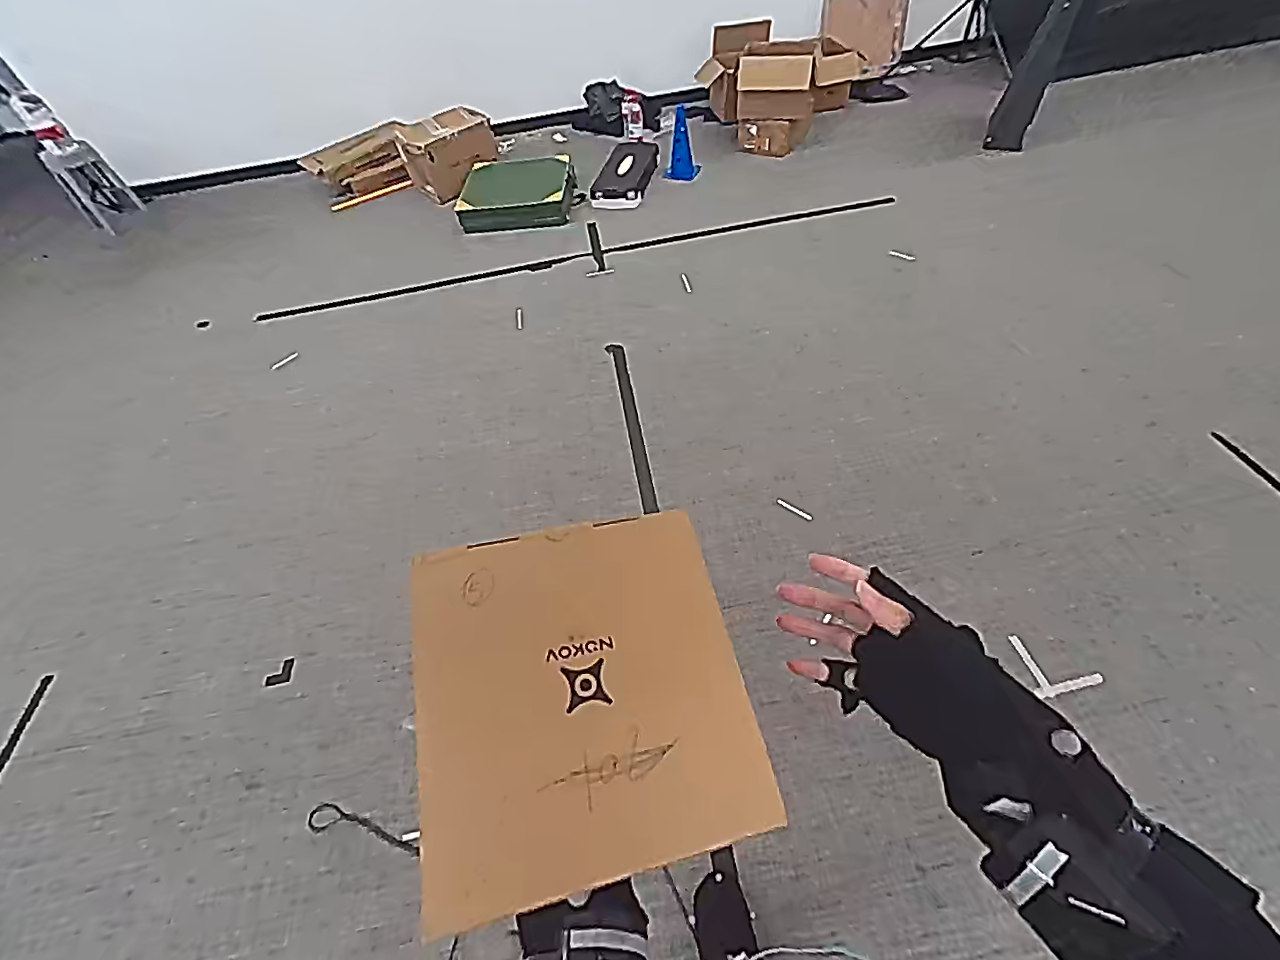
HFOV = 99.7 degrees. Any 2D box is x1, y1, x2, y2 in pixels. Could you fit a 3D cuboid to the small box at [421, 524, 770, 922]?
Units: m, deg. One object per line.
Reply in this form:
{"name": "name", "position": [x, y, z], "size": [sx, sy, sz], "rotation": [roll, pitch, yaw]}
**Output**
{"name": "small box", "position": [-0.042, 0.154, 0.360], "size": [0.168, 0.176, 0.179], "rotation": [-9, 59, -13]}
